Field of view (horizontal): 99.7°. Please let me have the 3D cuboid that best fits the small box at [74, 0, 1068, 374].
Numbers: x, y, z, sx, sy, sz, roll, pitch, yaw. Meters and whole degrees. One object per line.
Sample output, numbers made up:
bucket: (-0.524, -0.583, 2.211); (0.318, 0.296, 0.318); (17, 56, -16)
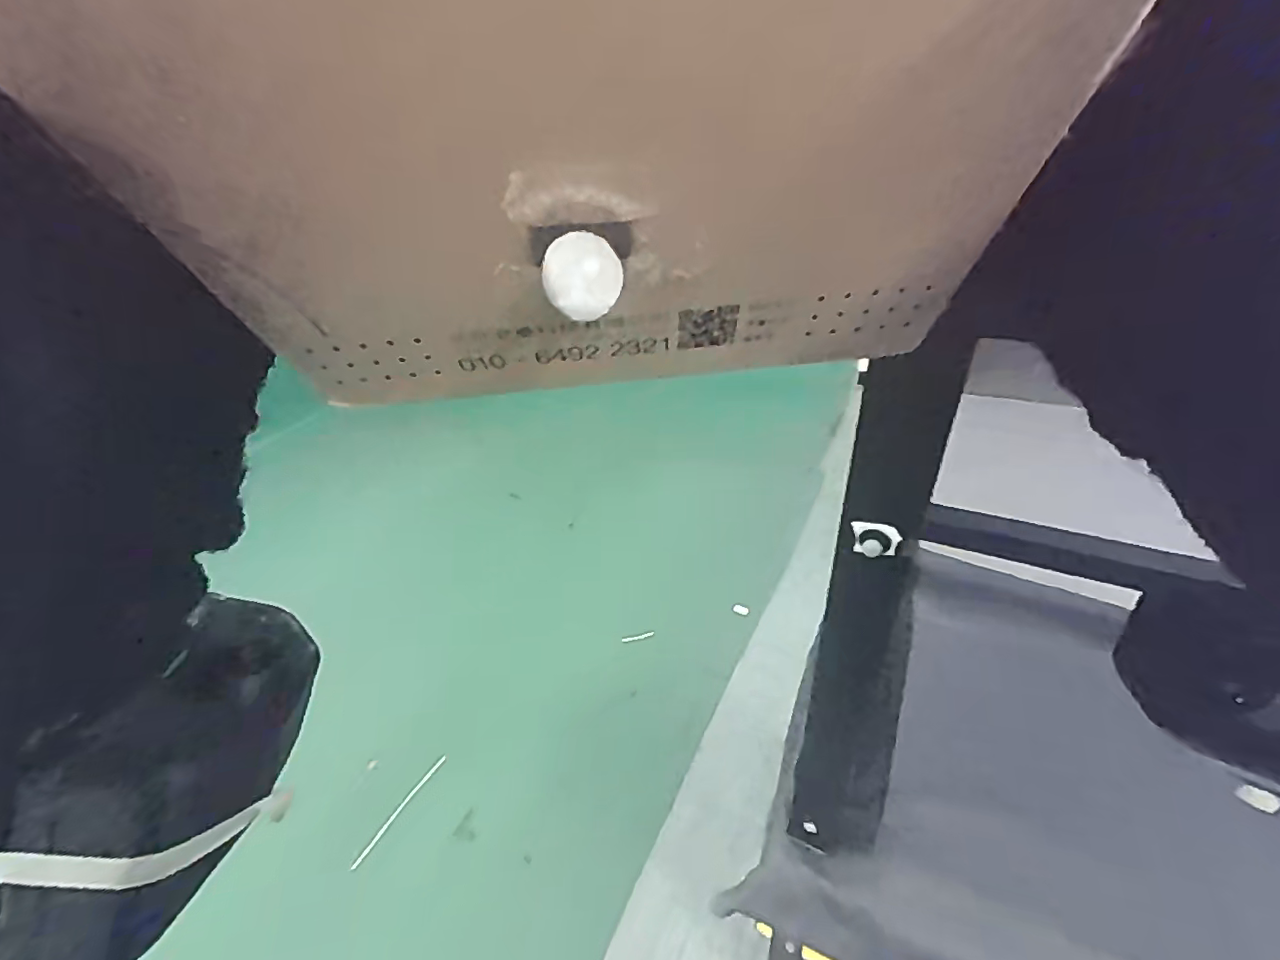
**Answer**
small box: (-0.018, -0.148, 0.119); (0.168, 0.176, 0.179); (-6, 66, -1)
